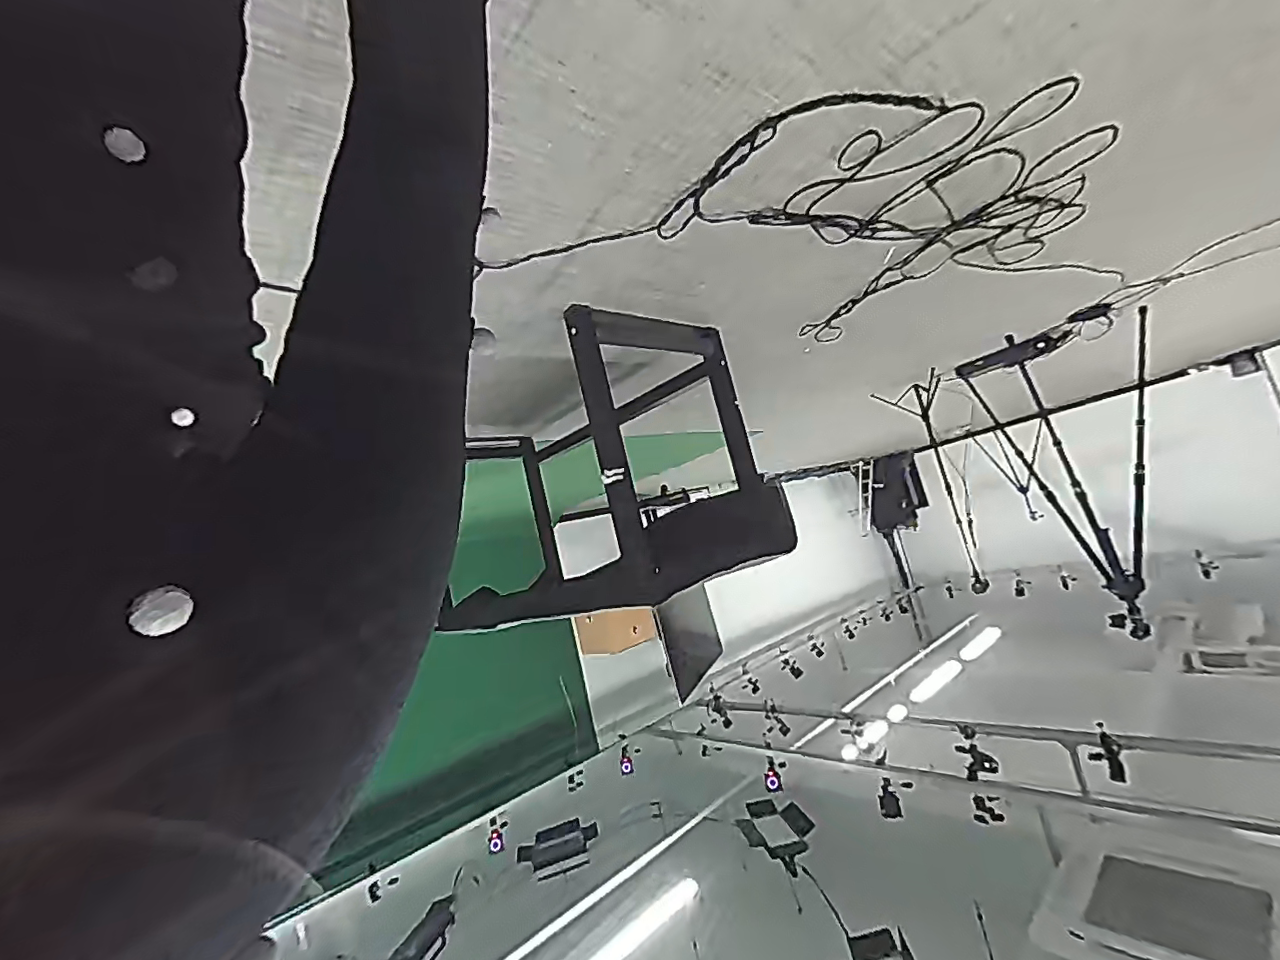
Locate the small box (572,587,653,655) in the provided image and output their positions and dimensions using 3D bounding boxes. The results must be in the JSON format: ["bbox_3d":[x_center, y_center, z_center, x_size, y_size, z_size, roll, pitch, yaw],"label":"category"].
[{"bbox_3d":[-0.088,0.441,1.702,0.179,0.176,0.168,-7,170,-44],"label":"small box"}]
